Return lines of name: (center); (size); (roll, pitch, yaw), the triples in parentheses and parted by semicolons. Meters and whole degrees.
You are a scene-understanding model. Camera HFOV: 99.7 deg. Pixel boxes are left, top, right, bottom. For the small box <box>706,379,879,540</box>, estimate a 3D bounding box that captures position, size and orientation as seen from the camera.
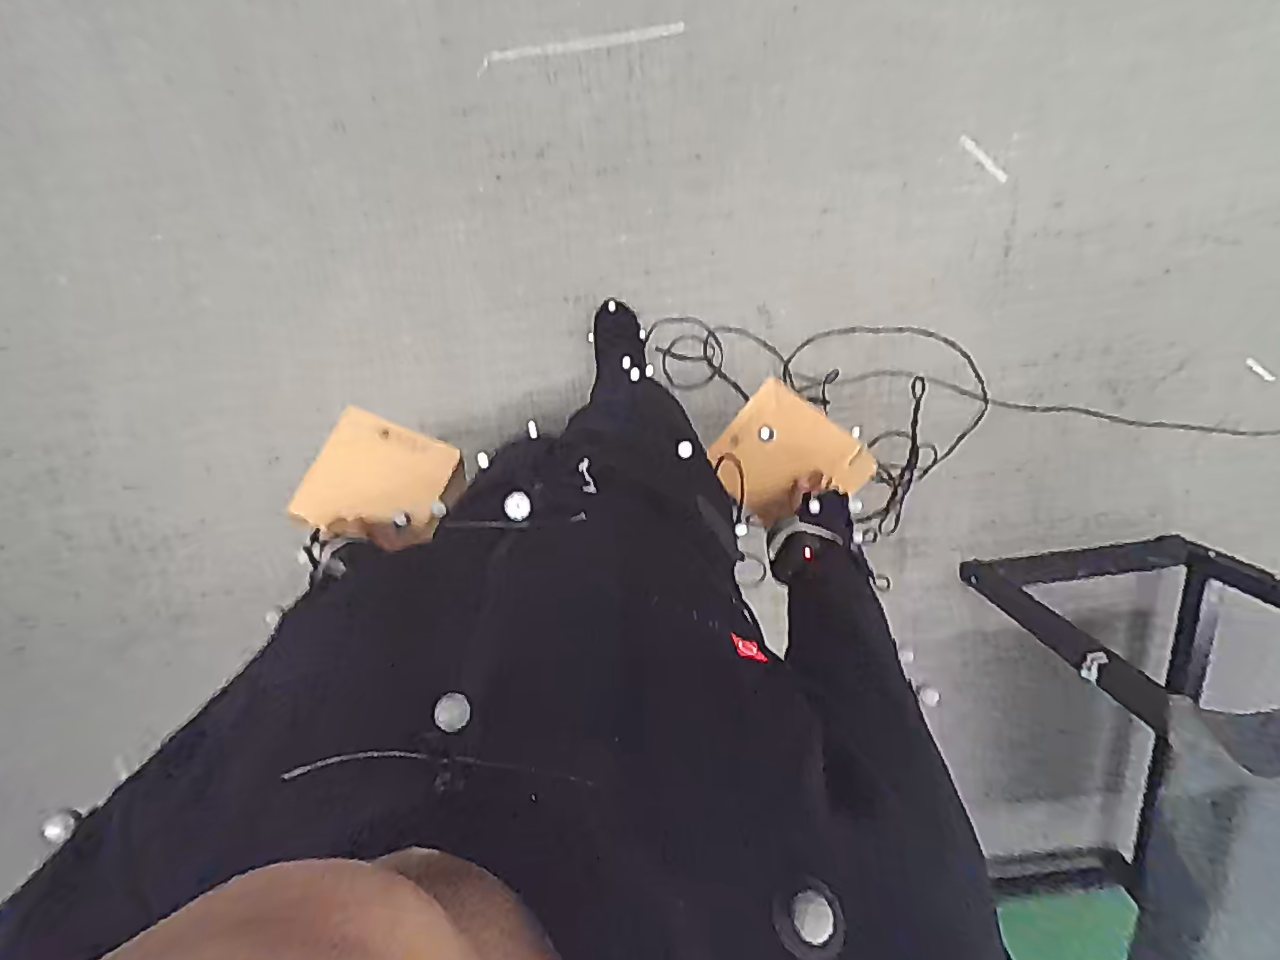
small box: (0.232, -0.027, 0.820); (0.176, 0.179, 0.168); (46, 104, 27)
